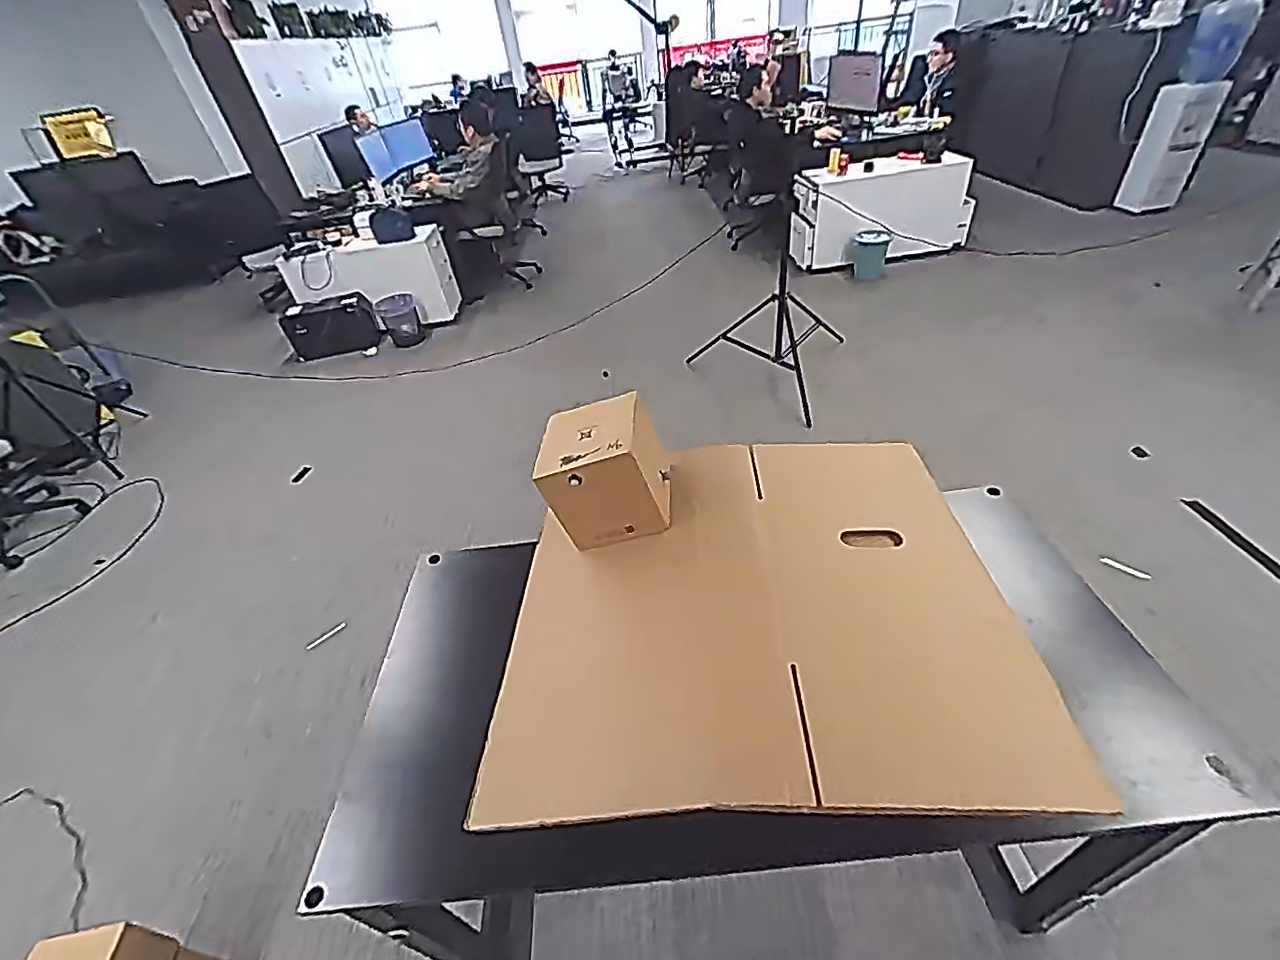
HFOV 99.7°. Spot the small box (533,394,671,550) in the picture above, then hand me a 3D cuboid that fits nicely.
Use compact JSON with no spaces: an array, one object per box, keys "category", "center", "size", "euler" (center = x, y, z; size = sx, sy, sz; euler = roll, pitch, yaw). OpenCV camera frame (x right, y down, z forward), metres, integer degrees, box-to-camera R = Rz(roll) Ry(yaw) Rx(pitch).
[{"category":"small box","center":[-0.053,-0.012,0.906],"size":[0.168,0.176,0.179],"euler":[-16,36,15]}]

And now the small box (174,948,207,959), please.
[{"category":"small box","center":[-1.019,1.110,1.116],"size":[0.168,0.176,0.179],"euler":[-10,40,-1]}]

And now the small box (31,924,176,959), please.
[{"category":"small box","center":[-1.039,0.982,1.018],"size":[0.168,0.176,0.179],"euler":[-11,38,-4]}]
